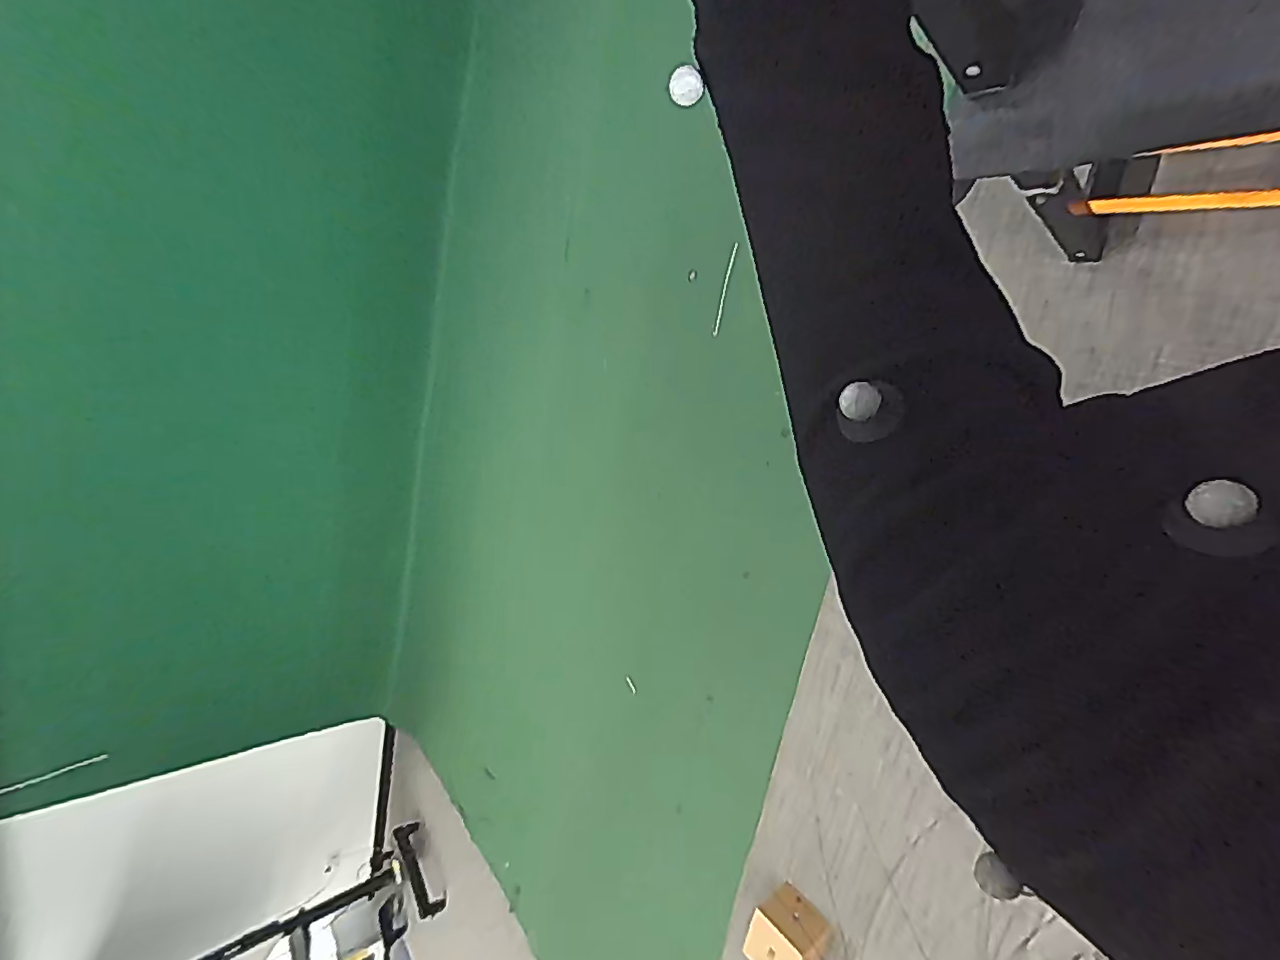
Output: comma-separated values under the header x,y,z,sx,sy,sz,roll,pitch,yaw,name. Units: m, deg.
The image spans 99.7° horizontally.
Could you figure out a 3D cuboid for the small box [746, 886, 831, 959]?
x,y,z,sx,sy,sz,roll,pitch,yaw,name
0.454,1.391,1.635,0.168,0.176,0.179,25,107,45,small box
